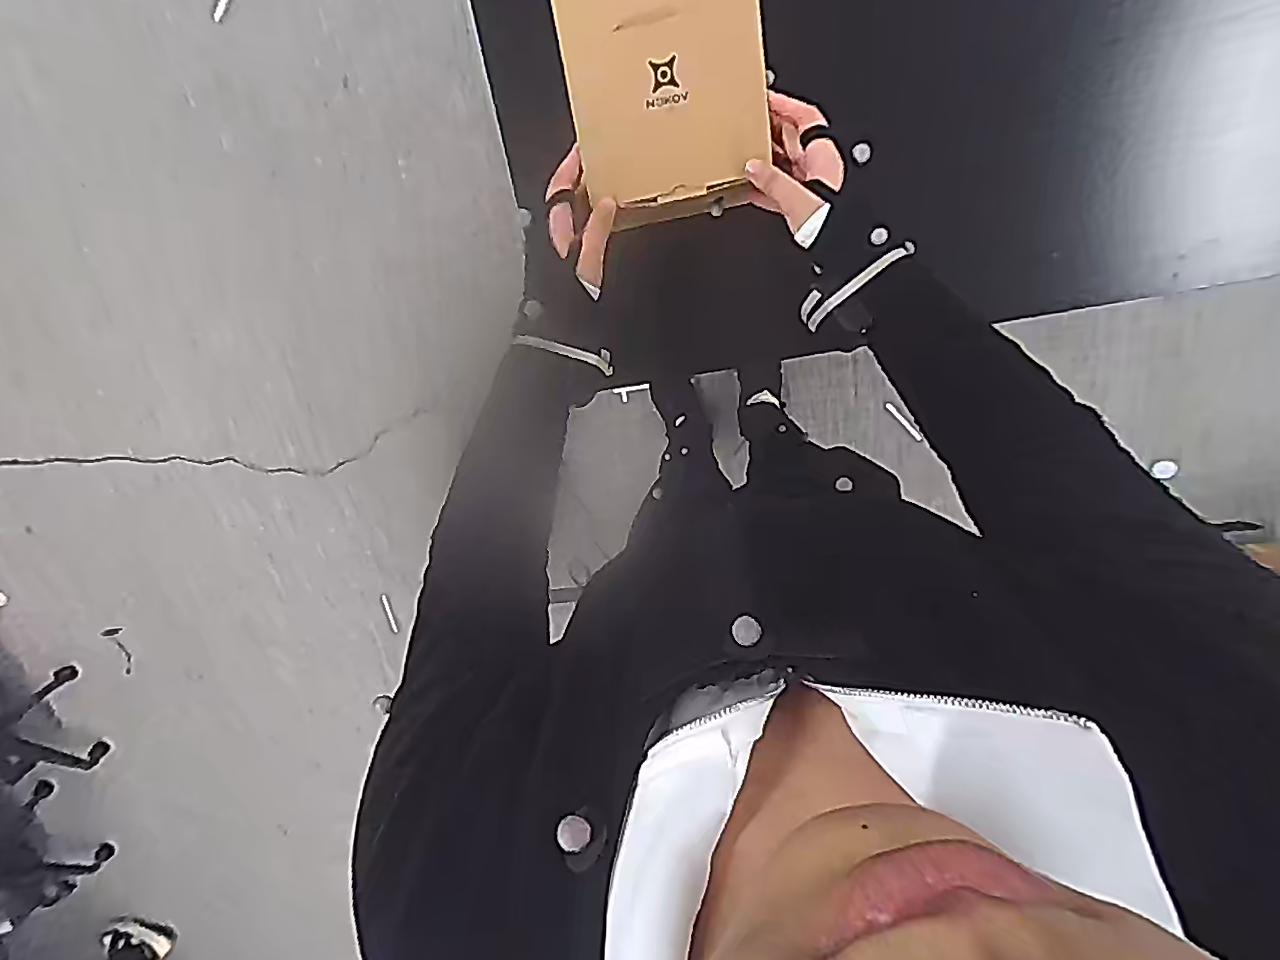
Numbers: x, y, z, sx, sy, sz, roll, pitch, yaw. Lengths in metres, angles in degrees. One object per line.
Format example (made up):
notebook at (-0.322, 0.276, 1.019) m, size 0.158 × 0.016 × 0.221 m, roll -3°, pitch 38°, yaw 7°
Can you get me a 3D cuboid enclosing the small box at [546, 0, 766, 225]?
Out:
small box at (0.021, -0.358, 0.525) m, size 0.168 × 0.176 × 0.179 m, roll -9°, pitch 108°, yaw 6°
